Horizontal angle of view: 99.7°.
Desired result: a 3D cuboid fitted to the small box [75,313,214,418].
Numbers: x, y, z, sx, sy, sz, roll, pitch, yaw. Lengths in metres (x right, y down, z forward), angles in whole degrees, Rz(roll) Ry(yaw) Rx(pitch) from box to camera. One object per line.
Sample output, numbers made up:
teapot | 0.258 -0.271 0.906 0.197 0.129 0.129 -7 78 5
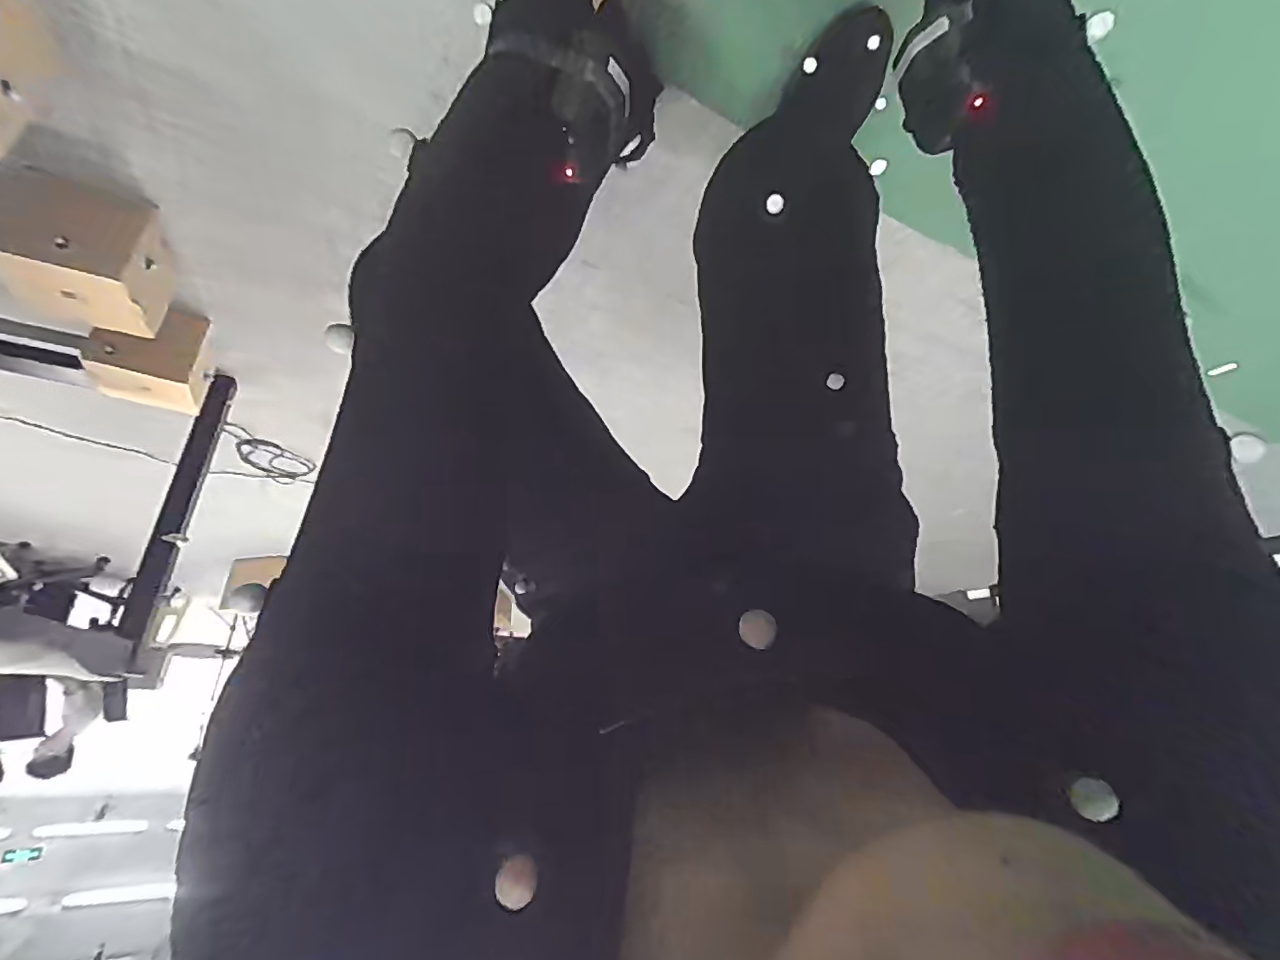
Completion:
small box | -1.059 -0.260 1.176 0.179 0.176 0.168 15 154 -28

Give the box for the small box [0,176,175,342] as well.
small box | -0.924 -0.366 0.908 0.179 0.176 0.168 12 155 -22
